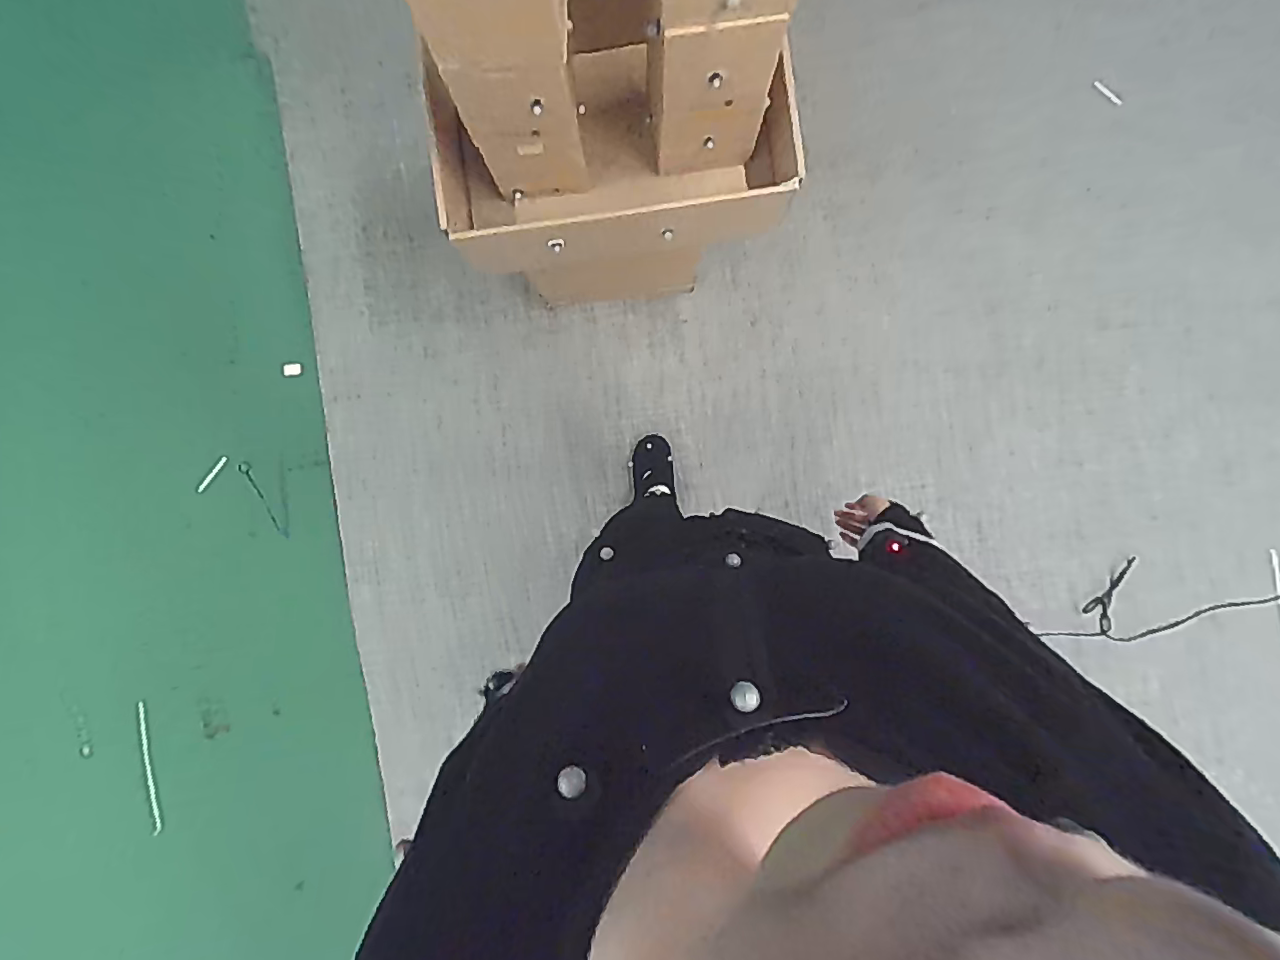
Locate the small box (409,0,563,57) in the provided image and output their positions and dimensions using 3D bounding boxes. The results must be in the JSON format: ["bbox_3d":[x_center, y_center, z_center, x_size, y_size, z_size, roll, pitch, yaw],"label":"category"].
[{"bbox_3d":[-0.187,-0.633,0.624,0.179,0.176,0.168,1,90,-1],"label":"small box"}]

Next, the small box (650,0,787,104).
[{"bbox_3d":[0.103,-0.677,0.775,0.168,0.176,0.179,-7,90,1],"label":"small box"}]

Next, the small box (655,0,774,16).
[{"bbox_3d":[0.100,-0.679,0.610,0.179,0.176,0.168,-6,90,1],"label":"small box"}]

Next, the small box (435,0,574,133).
[{"bbox_3d":[-0.189,-0.636,0.786,0.168,0.176,0.179,-2,89,1],"label":"small box"}]
